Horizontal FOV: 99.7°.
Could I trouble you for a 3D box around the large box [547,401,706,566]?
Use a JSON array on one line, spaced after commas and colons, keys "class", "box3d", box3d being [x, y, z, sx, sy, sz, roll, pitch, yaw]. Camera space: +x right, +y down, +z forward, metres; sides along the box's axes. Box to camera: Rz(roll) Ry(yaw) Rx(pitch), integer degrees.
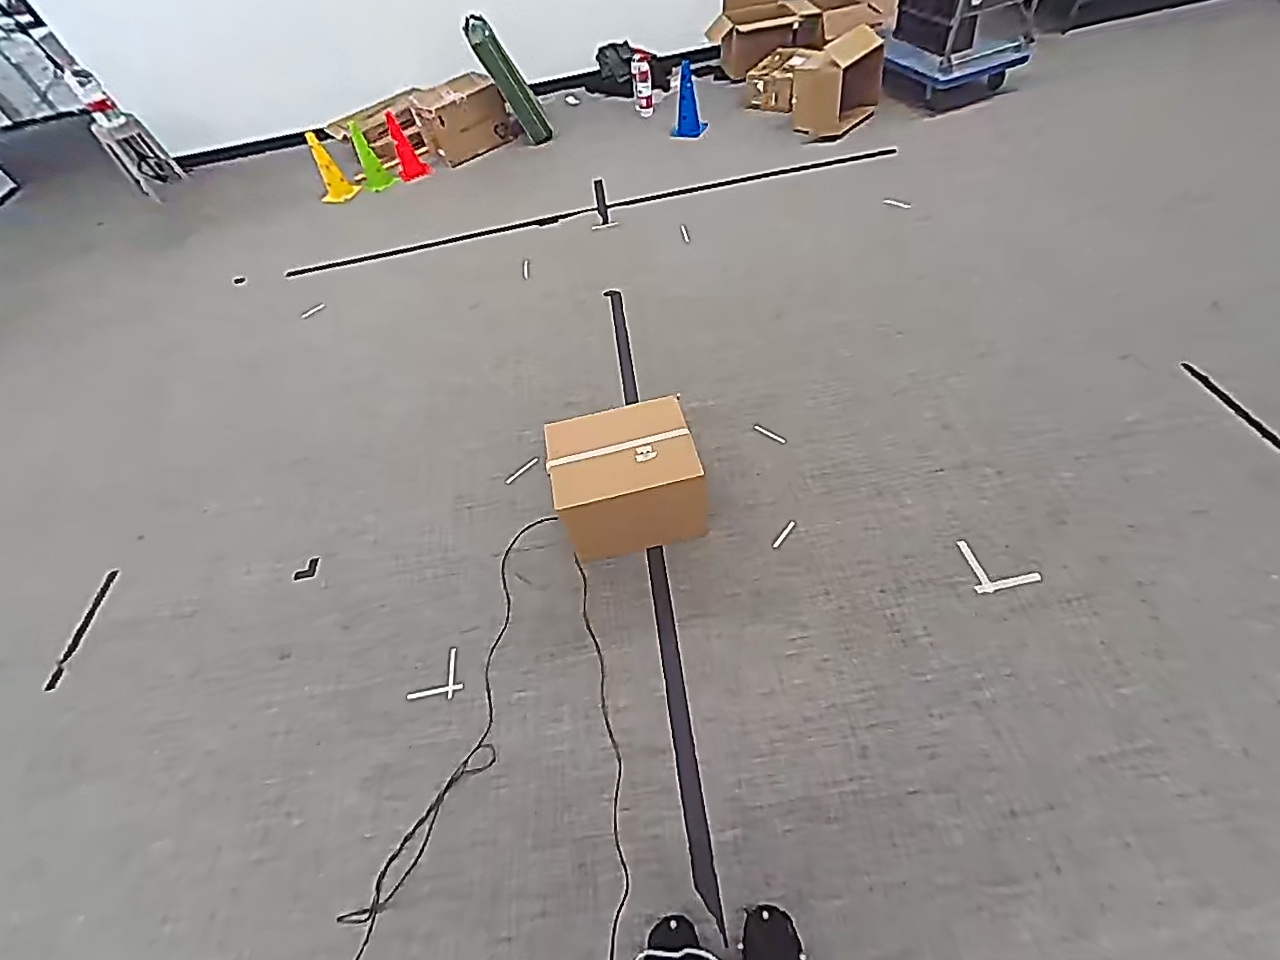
[{"class": "large box", "box3d": [-0.037, 0.017, 1.619, 0.408, 0.320, 0.320, -13, 53, -2]}]
